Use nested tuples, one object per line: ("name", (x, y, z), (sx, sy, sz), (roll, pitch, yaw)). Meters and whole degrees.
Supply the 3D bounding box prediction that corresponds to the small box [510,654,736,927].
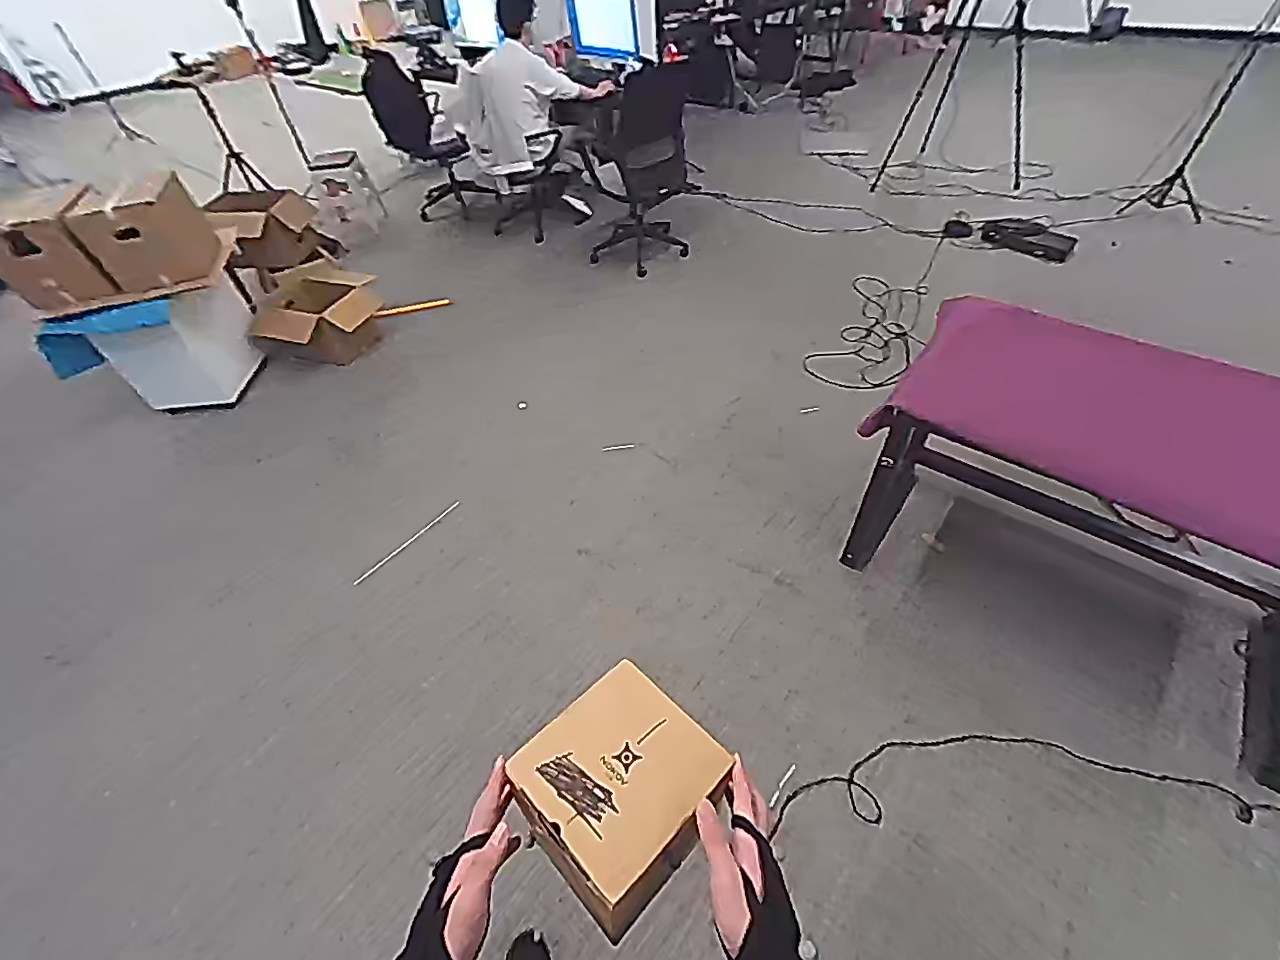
("small box", (-0.017, 0.342, 0.602), (0.179, 0.176, 0.168), (-32, 51, -33))
